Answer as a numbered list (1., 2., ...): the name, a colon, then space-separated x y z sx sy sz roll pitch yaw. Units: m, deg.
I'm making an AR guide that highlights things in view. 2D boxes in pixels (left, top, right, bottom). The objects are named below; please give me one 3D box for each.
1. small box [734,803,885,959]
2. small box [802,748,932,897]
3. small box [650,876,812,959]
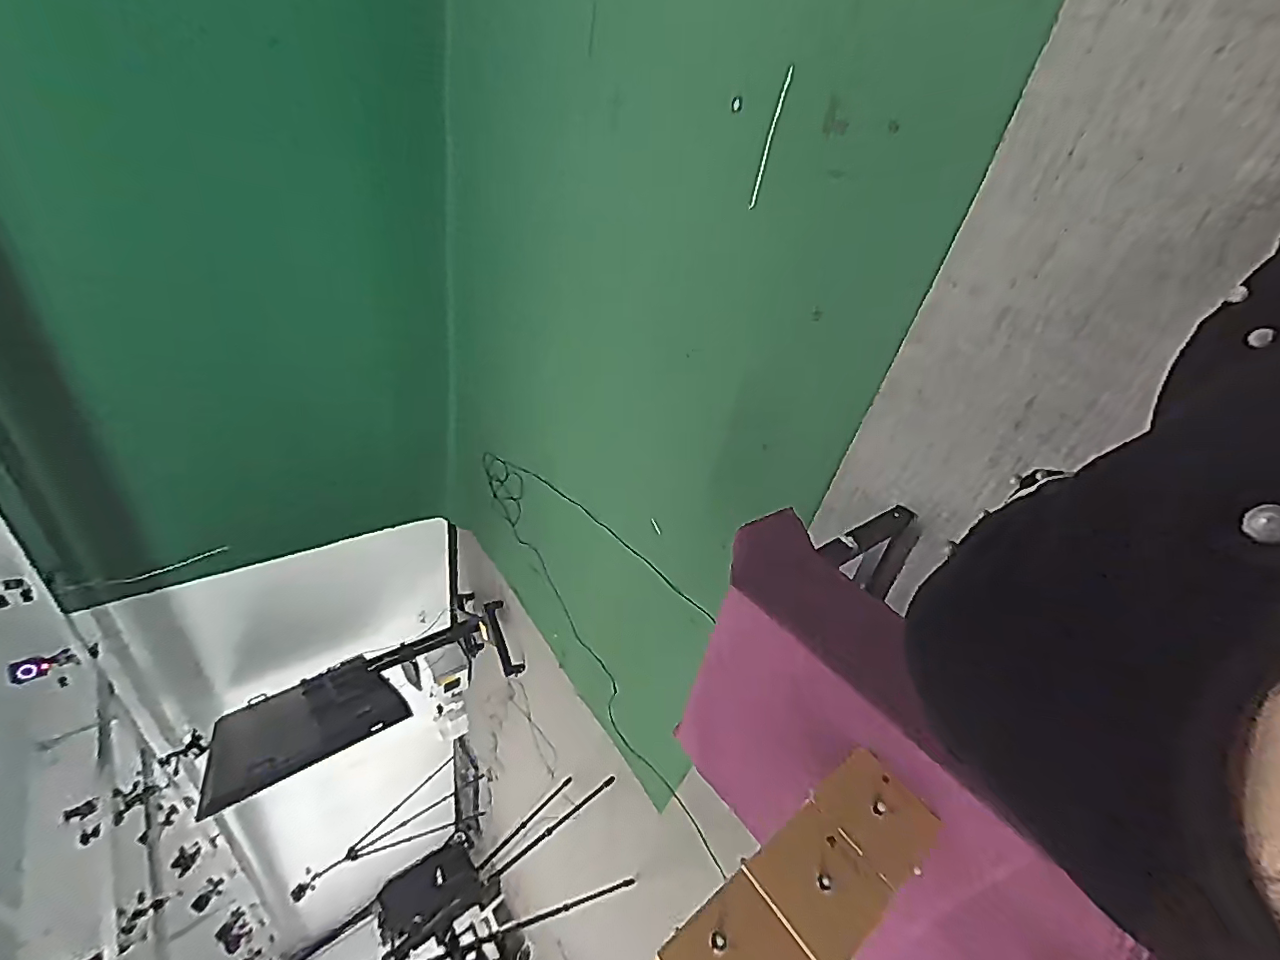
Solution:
1. small box: 0.251 0.656 0.848 0.168 0.176 0.179 41 134 36
2. small box: 0.377 0.614 0.948 0.168 0.176 0.179 41 133 36
3. small box: 0.127 0.701 0.753 0.179 0.176 0.168 40 134 36
